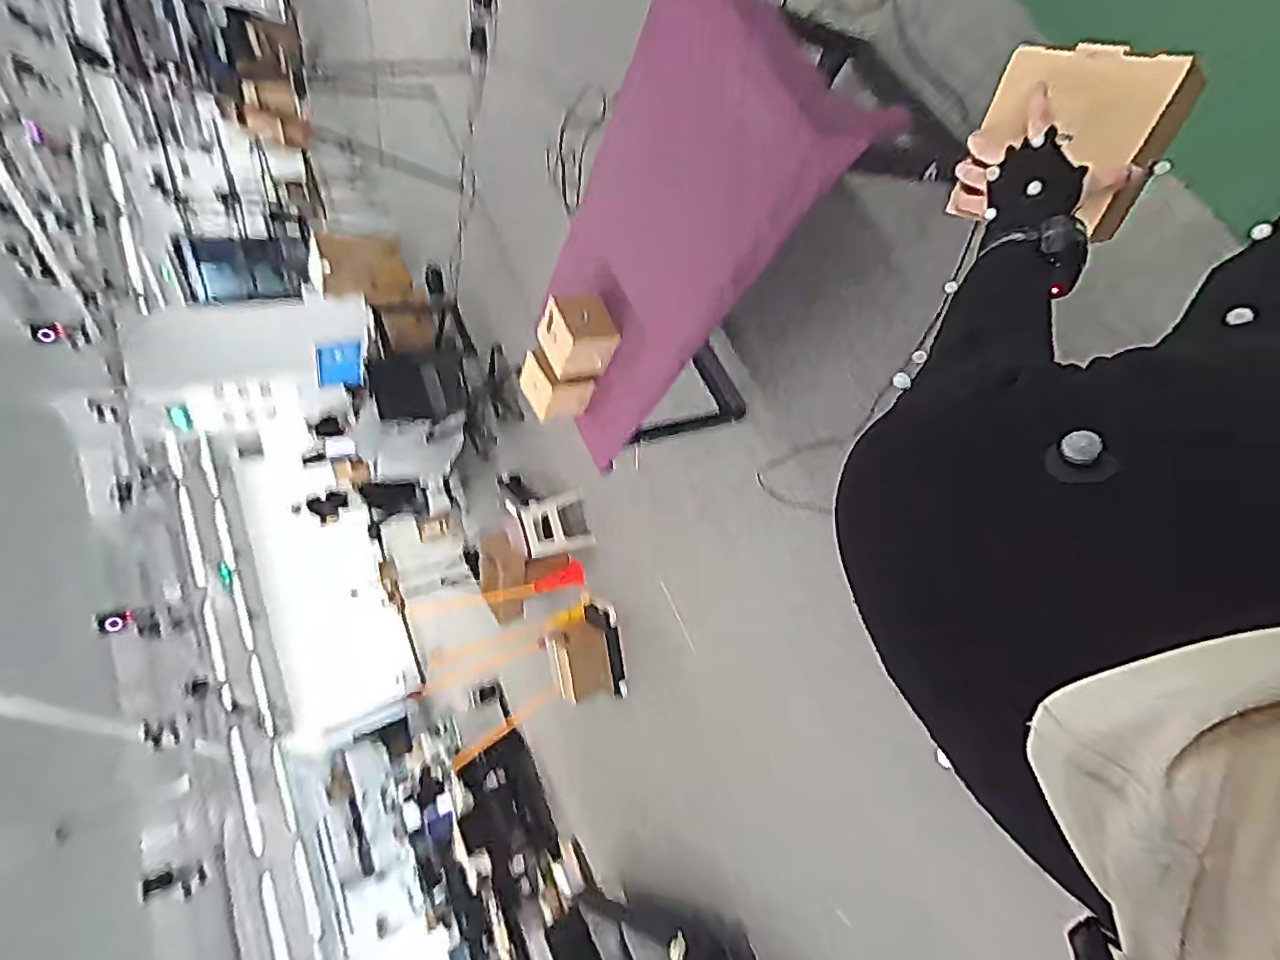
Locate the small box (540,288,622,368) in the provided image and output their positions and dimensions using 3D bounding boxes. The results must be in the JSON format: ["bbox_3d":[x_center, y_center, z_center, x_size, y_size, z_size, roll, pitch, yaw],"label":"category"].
[{"bbox_3d":[-0.182,-0.469,1.668,0.179,0.176,0.168,63,146,16],"label":"small box"}]

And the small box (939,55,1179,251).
[{"bbox_3d":[0.520,-0.400,0.676,0.168,0.176,0.179,37,132,34],"label":"small box"}]

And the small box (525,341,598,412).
[{"bbox_3d":[-0.269,-0.359,1.847,0.179,0.176,0.168,61,146,20],"label":"small box"}]
